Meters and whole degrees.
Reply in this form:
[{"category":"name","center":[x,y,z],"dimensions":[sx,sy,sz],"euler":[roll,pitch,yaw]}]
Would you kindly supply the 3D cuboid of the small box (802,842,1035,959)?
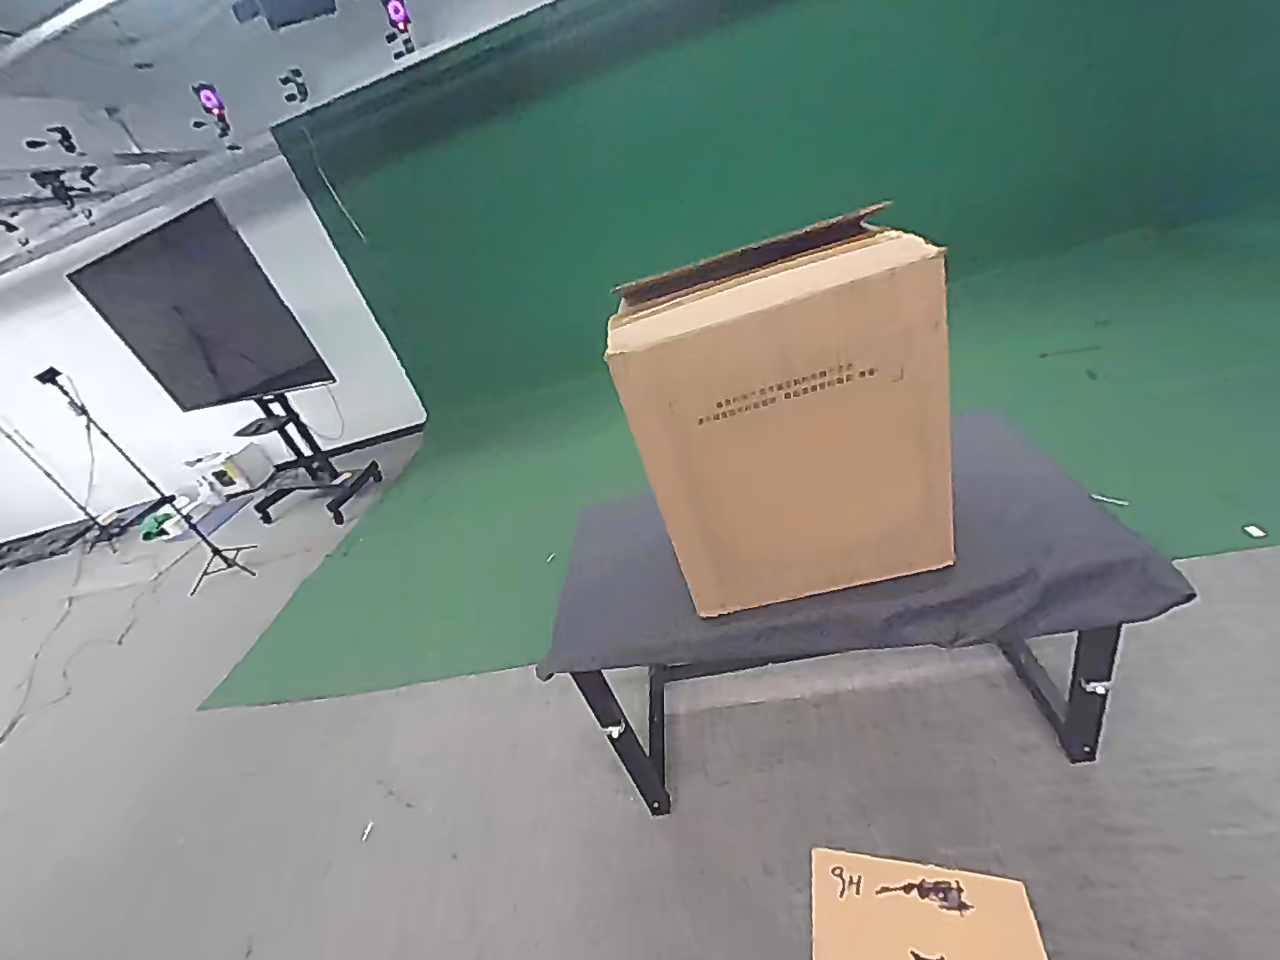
[{"category":"small box","center":[0.220,0.440,0.431],"dimensions":[0.168,0.176,0.179],"euler":[-2,26,18]}]
